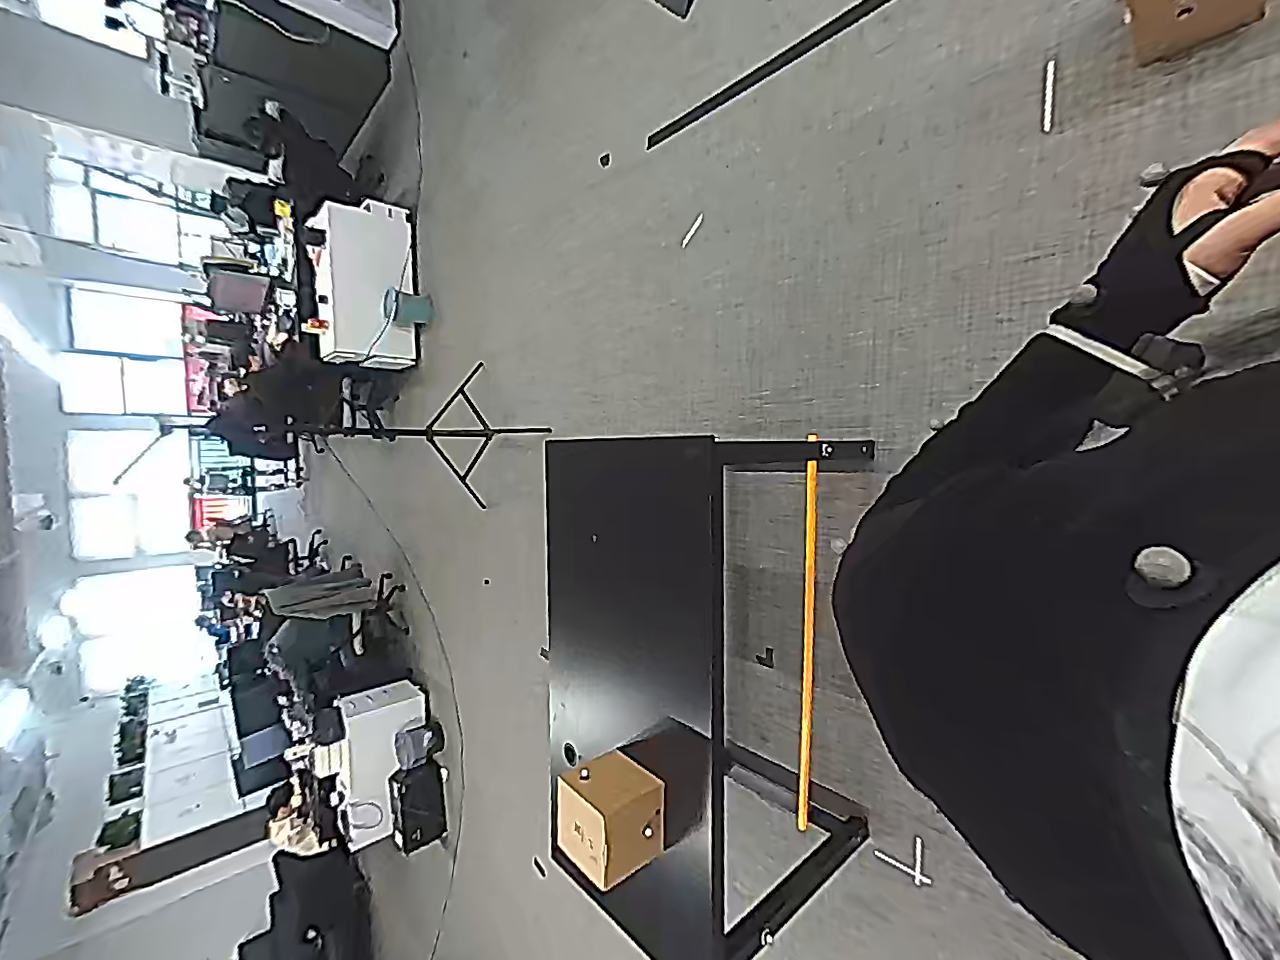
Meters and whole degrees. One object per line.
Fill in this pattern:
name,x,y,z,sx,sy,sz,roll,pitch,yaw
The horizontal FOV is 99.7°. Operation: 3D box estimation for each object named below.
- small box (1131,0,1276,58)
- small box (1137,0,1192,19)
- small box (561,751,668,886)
small box,1.015,-0.918,0.972,0.179,0.176,0.168,2,94,48
small box,0.896,-0.907,0.863,0.168,0.176,0.179,-2,93,51
small box,-0.059,0.738,1.207,0.179,0.176,0.168,6,97,49
